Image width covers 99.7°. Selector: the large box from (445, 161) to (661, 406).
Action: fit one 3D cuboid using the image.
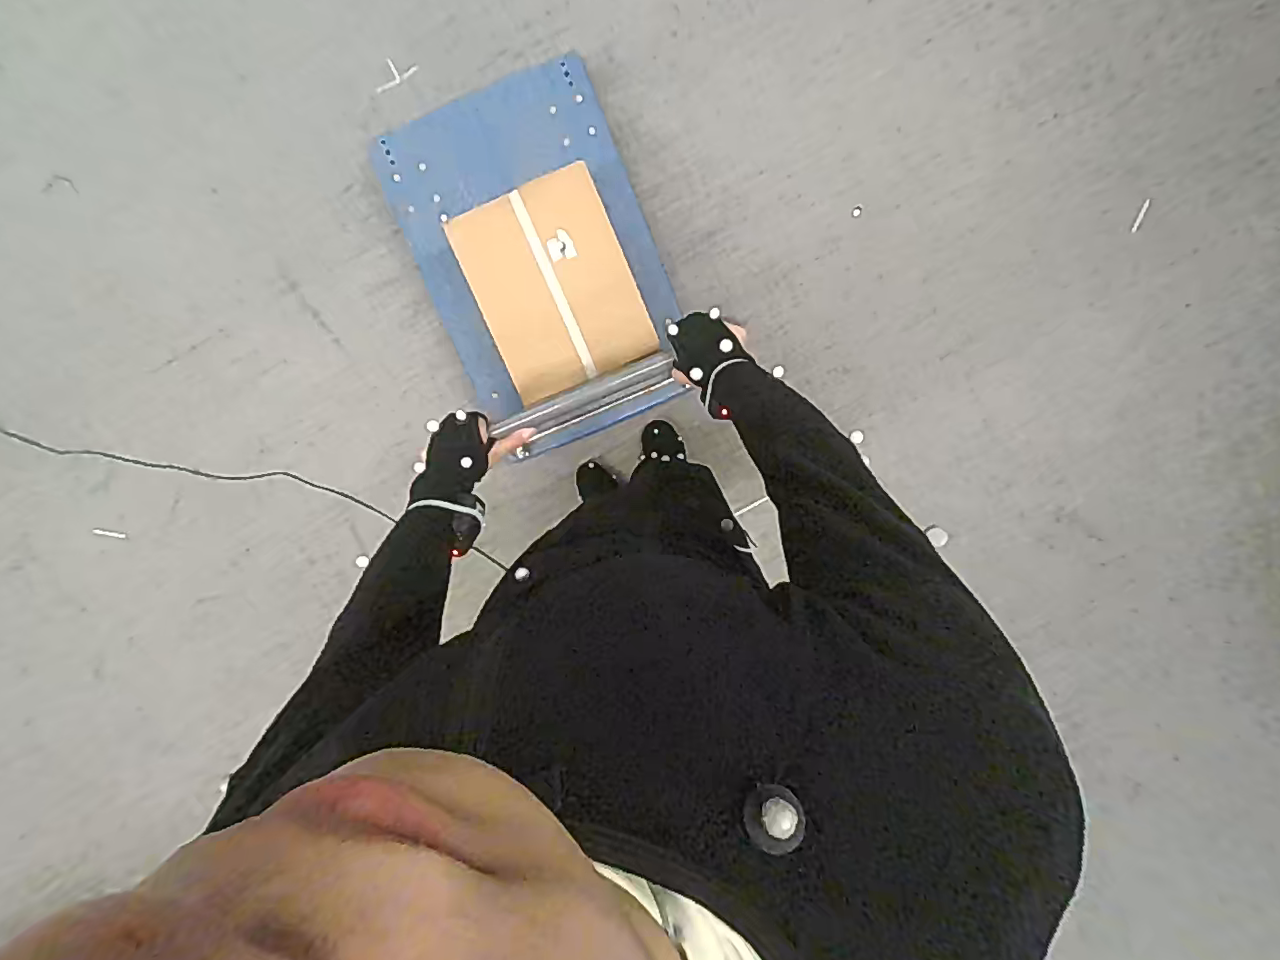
[{"bbox_3d":[-0.174,-0.413,1.243,0.320,0.320,0.408,-23,97,1],"label":"large box"}]
